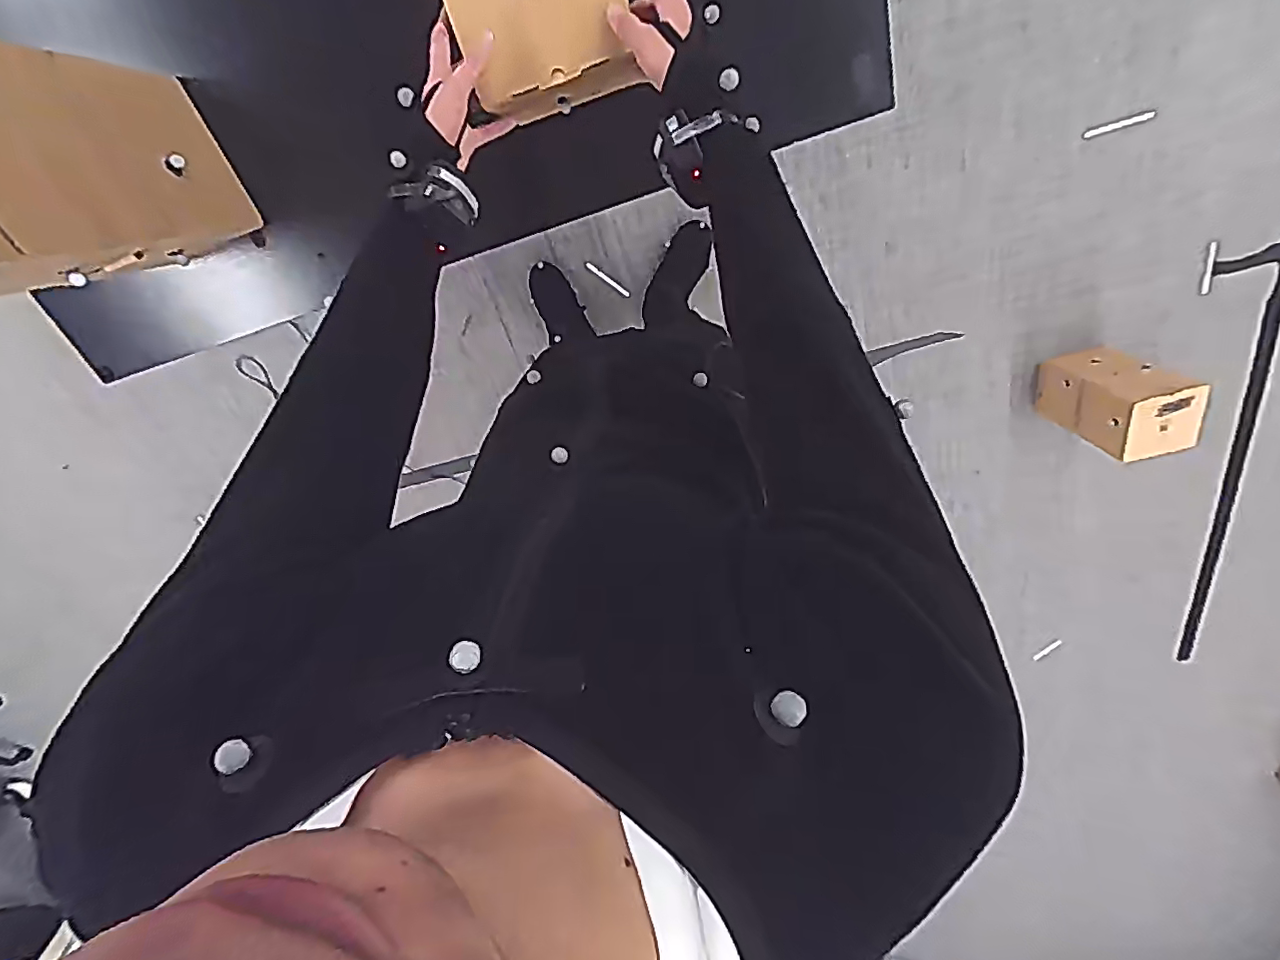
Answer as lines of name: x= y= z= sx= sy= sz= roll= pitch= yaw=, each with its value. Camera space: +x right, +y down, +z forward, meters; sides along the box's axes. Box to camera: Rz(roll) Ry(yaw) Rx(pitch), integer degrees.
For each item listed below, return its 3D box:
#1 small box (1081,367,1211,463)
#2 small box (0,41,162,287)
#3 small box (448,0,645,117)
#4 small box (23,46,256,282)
small box: x=1.259 y=-0.172 z=1.362 sx=0.168 sy=0.176 sz=0.179 roll=-15 pitch=120 yaw=8
small box: x=-0.607 y=-0.276 z=0.482 sx=0.168 sy=0.176 sz=0.179 roll=-15 pitch=118 yaw=10
small box: x=-0.096 y=-0.496 z=0.544 sx=0.168 sy=0.176 sz=0.179 roll=-14 pitch=119 yaw=9
small box: x=-0.606 y=-0.356 z=0.626 sx=0.168 sy=0.176 sz=0.179 roll=-17 pitch=119 yaw=9
